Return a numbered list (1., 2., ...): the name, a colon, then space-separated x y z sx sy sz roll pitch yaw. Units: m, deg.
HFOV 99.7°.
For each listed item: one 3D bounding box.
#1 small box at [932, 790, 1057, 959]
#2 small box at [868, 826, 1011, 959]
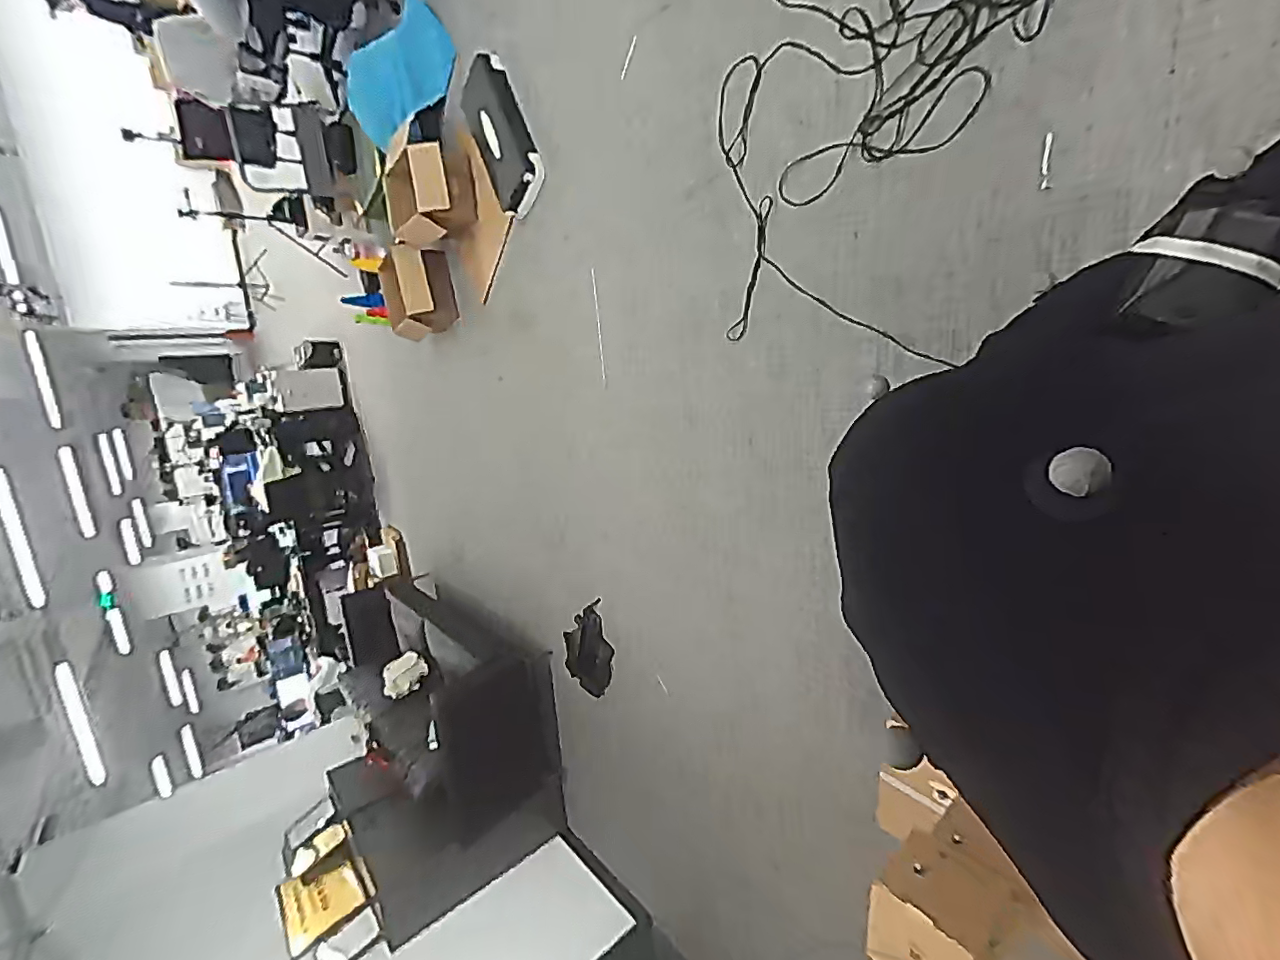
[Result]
1. small box: 0.660 0.746 1.037 0.179 0.176 0.168 25 120 45
2. small box: 0.525 0.765 0.948 0.168 0.176 0.179 15 115 50
